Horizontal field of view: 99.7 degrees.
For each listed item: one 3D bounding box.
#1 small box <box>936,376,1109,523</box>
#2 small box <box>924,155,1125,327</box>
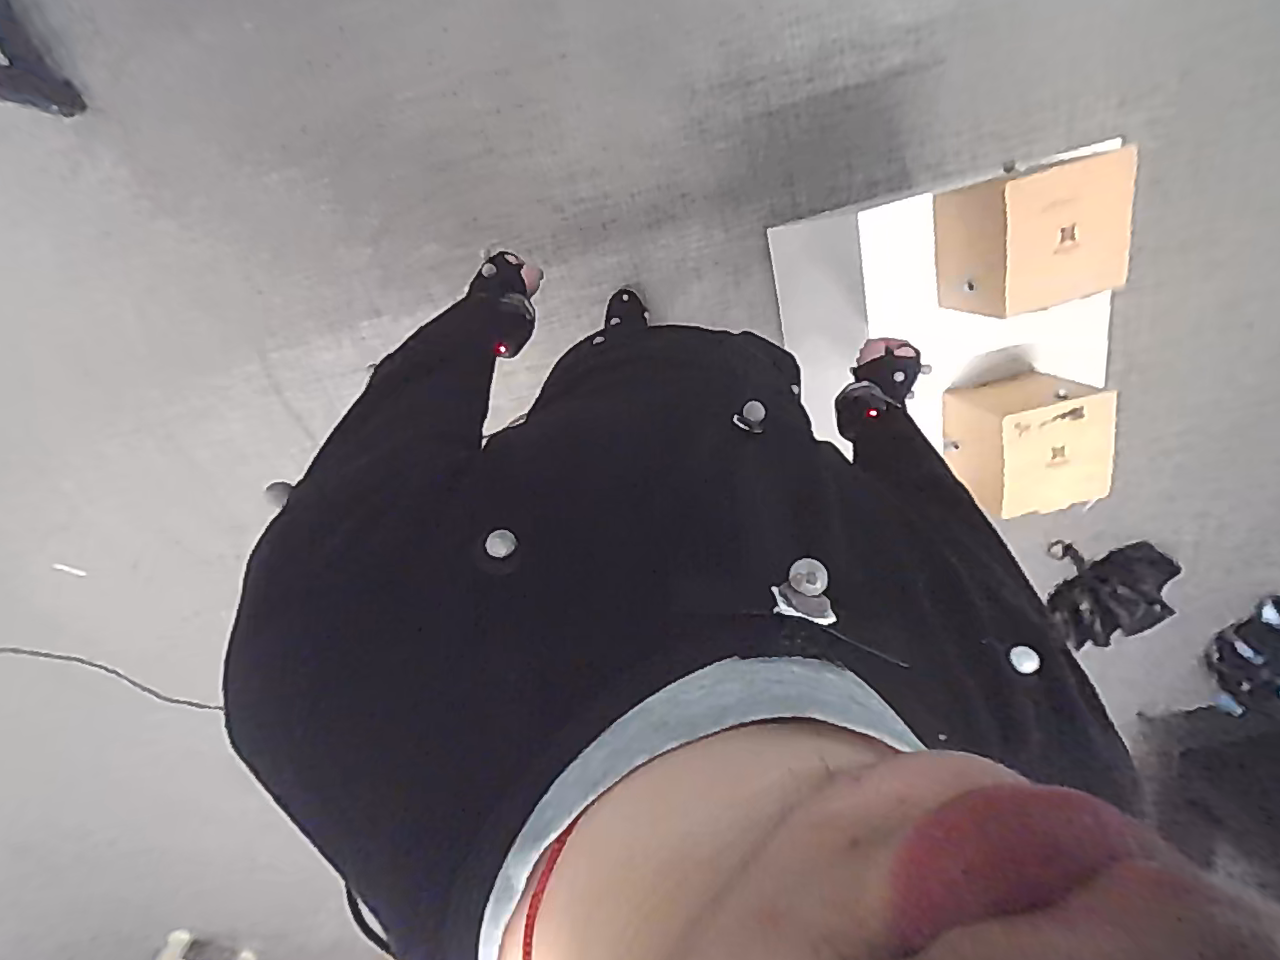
[{"bbox_3d":[0.617,-0.056,0.895,0.168,0.176,0.179,-15,112,0],"label":"small box"},{"bbox_3d":[0.539,-0.337,0.779,0.168,0.176,0.179,-18,112,0],"label":"small box"}]
